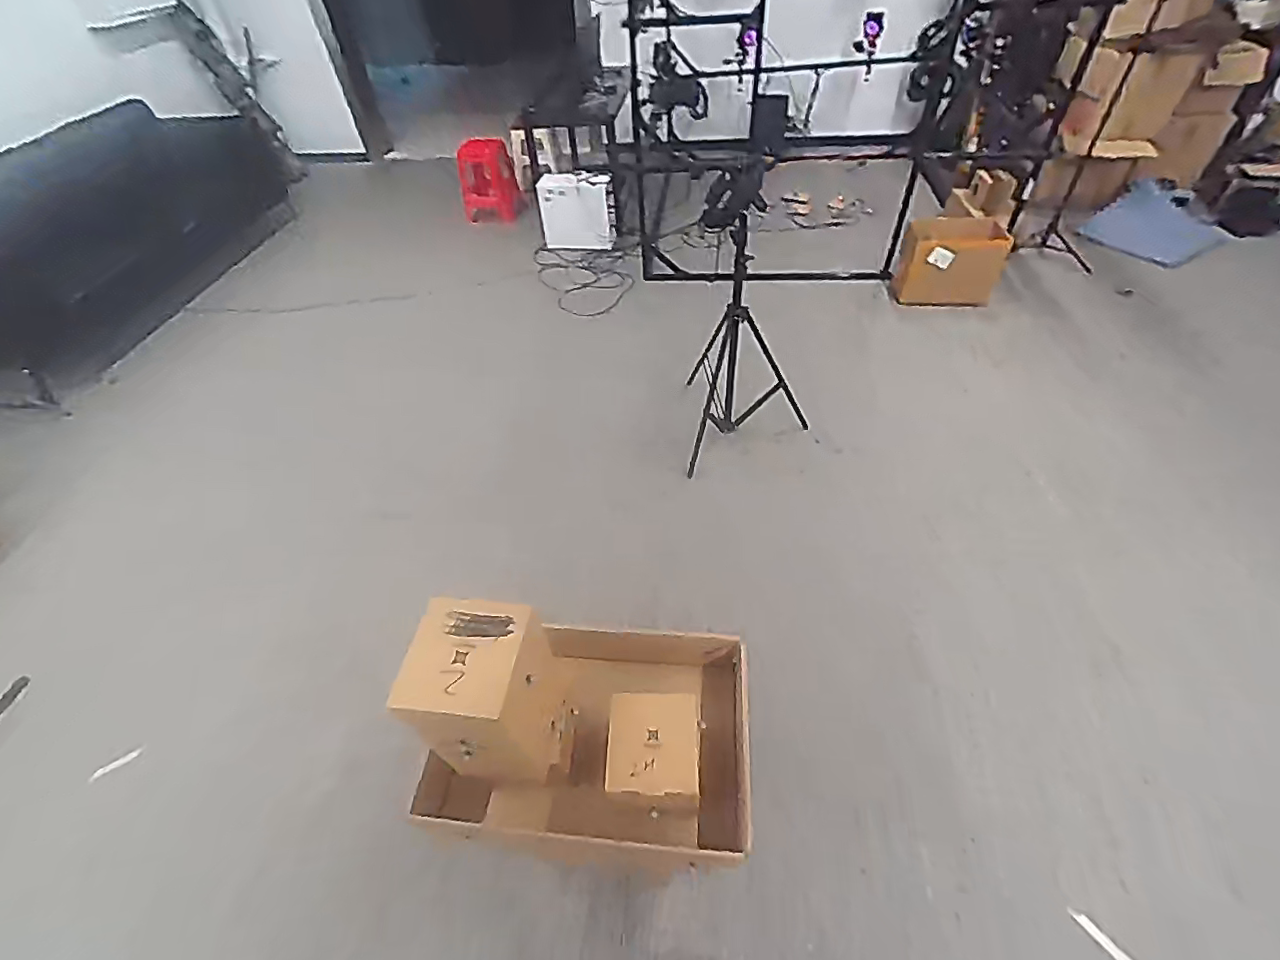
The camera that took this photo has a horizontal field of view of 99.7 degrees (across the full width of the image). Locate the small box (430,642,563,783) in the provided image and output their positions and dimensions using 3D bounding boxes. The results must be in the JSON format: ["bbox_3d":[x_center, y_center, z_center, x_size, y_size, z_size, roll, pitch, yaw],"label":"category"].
[{"bbox_3d":[-0.241,0.414,0.964,0.168,0.176,0.179,2,46,8],"label":"small box"}]
